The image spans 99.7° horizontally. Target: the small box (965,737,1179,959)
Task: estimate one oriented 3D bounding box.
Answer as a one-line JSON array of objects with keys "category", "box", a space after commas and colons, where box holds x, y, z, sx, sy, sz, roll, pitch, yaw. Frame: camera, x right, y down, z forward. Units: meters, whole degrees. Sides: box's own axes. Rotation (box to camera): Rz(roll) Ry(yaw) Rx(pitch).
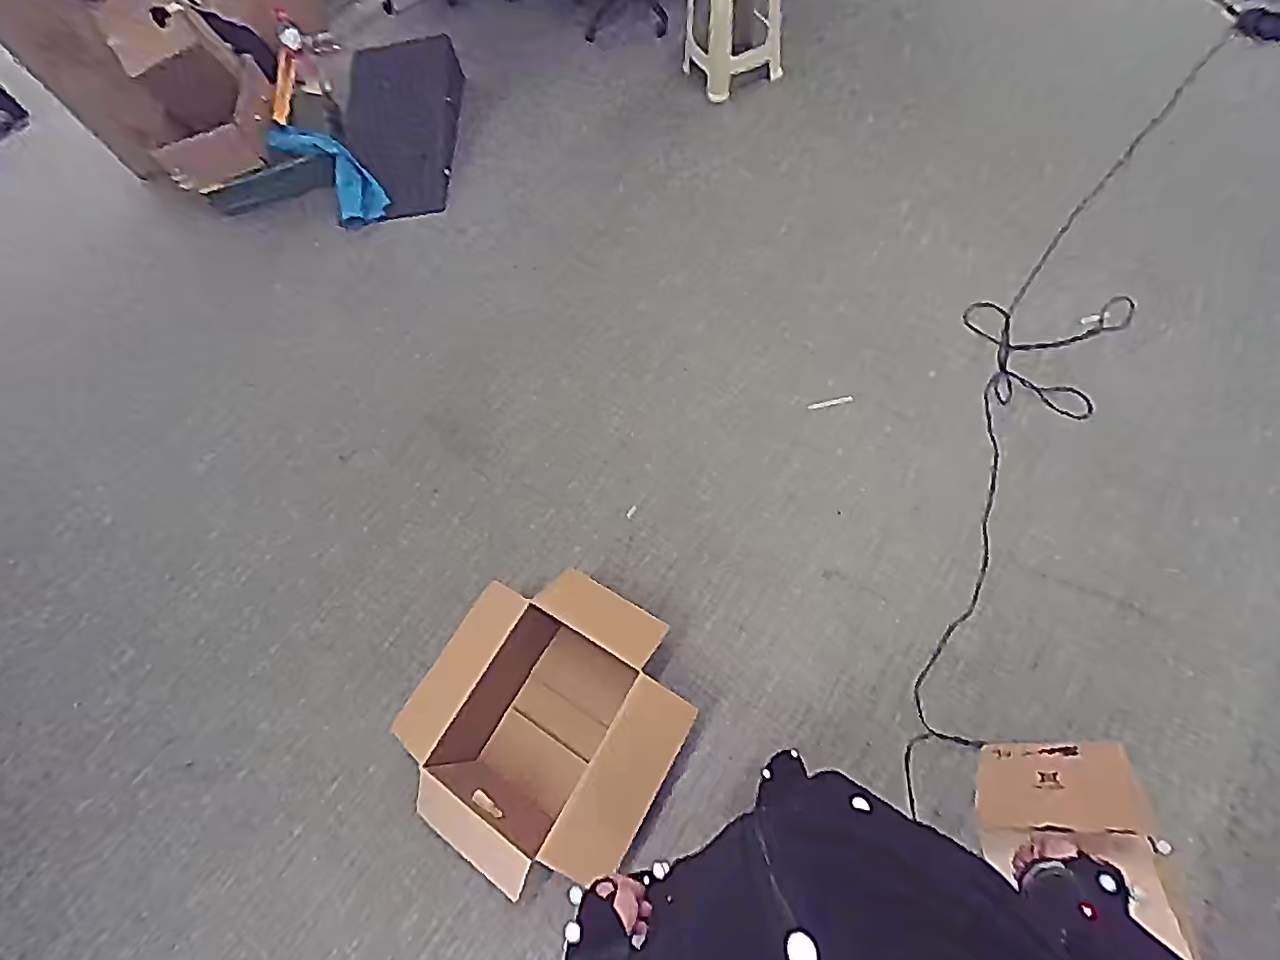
[{"category": "small box", "box": [0.544, 0.458, 0.694, 0.168, 0.179, 0.176, -20, 89, 38]}]
